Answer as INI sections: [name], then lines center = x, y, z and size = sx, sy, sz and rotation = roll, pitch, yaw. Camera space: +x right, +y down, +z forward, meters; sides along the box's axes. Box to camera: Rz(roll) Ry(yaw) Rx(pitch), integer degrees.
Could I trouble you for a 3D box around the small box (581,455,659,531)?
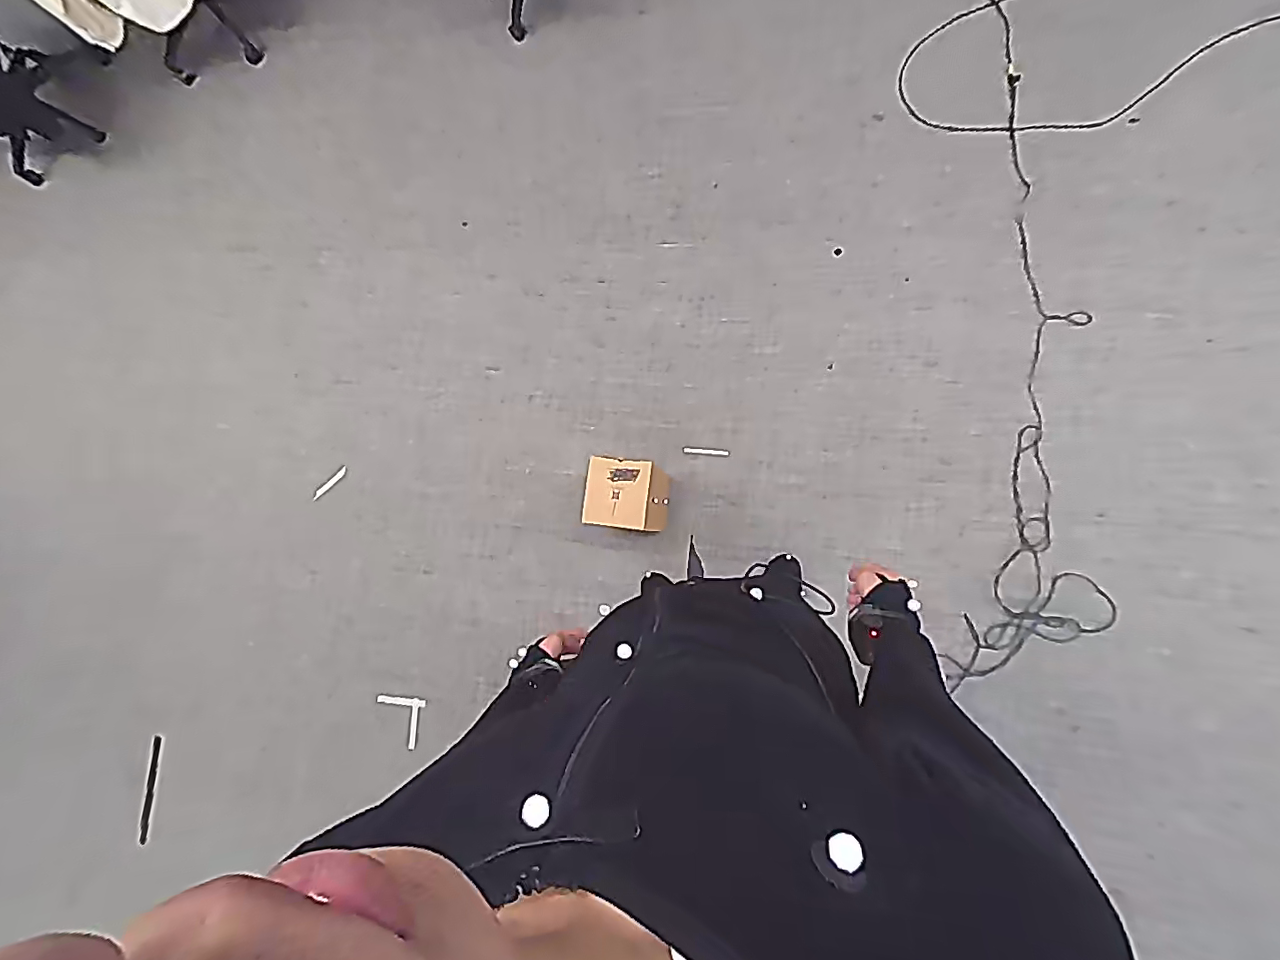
[small box]
center = -0.047, 0.040, 1.445
size = 0.168, 0.176, 0.179
rotation = 6, 85, 12
